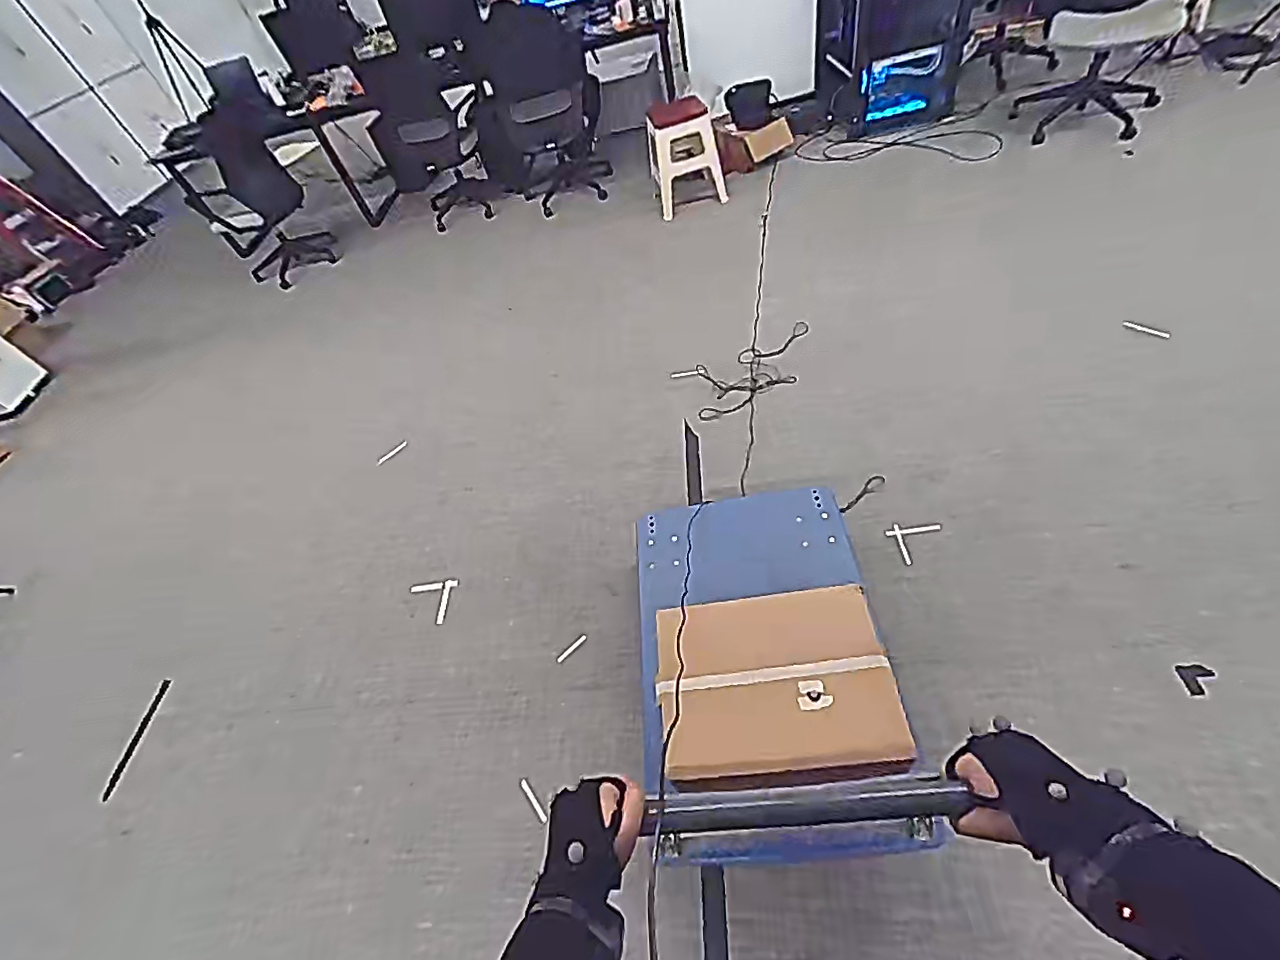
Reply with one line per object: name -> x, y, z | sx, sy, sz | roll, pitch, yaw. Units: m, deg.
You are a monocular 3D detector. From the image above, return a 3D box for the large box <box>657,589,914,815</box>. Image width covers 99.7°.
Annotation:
large box -> 0.262, 0.452, 1.080 | 0.408, 0.320, 0.320 | -9, 50, 7
